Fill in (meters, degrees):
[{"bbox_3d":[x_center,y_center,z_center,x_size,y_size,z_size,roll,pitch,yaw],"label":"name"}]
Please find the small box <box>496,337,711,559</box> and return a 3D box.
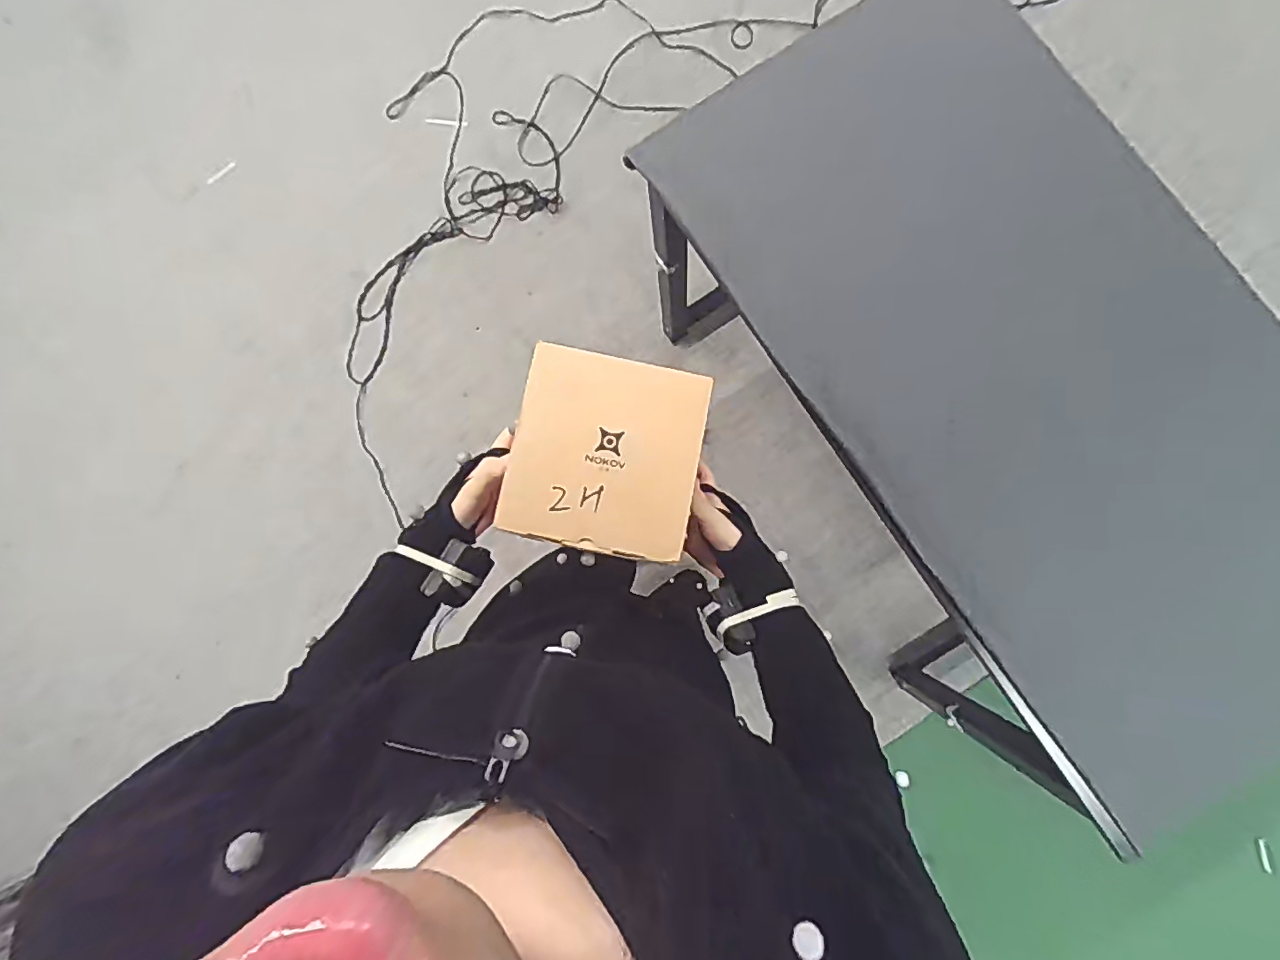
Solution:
[{"bbox_3d":[-0.035,-0.020,0.562,0.168,0.176,0.179,12,81,-2],"label":"small box"}]
